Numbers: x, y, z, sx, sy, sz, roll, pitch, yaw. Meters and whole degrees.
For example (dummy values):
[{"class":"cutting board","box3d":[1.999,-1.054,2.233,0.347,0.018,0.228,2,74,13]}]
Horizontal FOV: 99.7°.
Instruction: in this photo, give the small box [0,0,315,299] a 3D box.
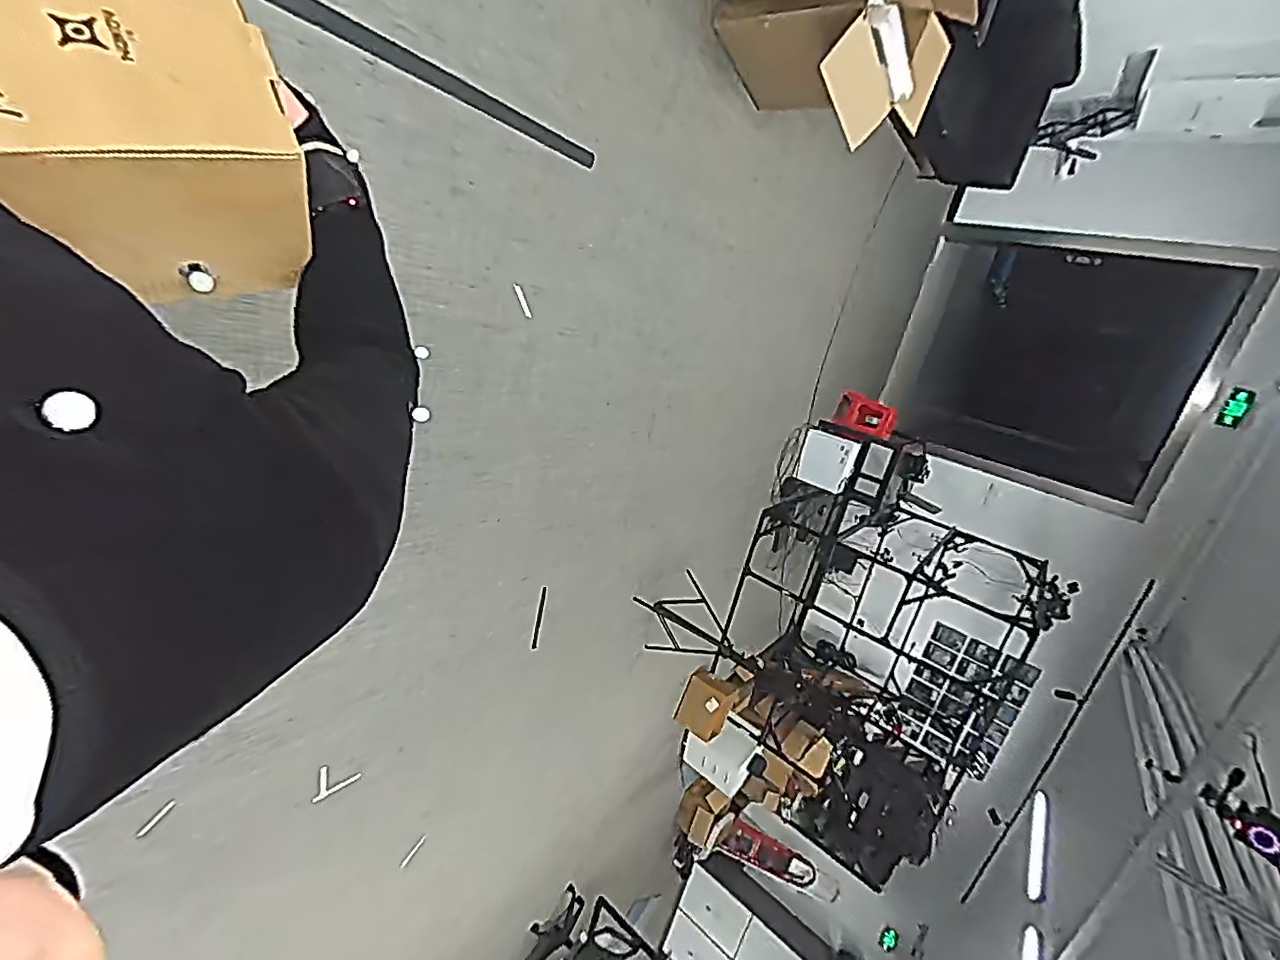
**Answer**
[{"class":"small box","box3d":[-0.375,-0.263,0.420,0.179,0.176,0.168,-21,86,-31]}]
